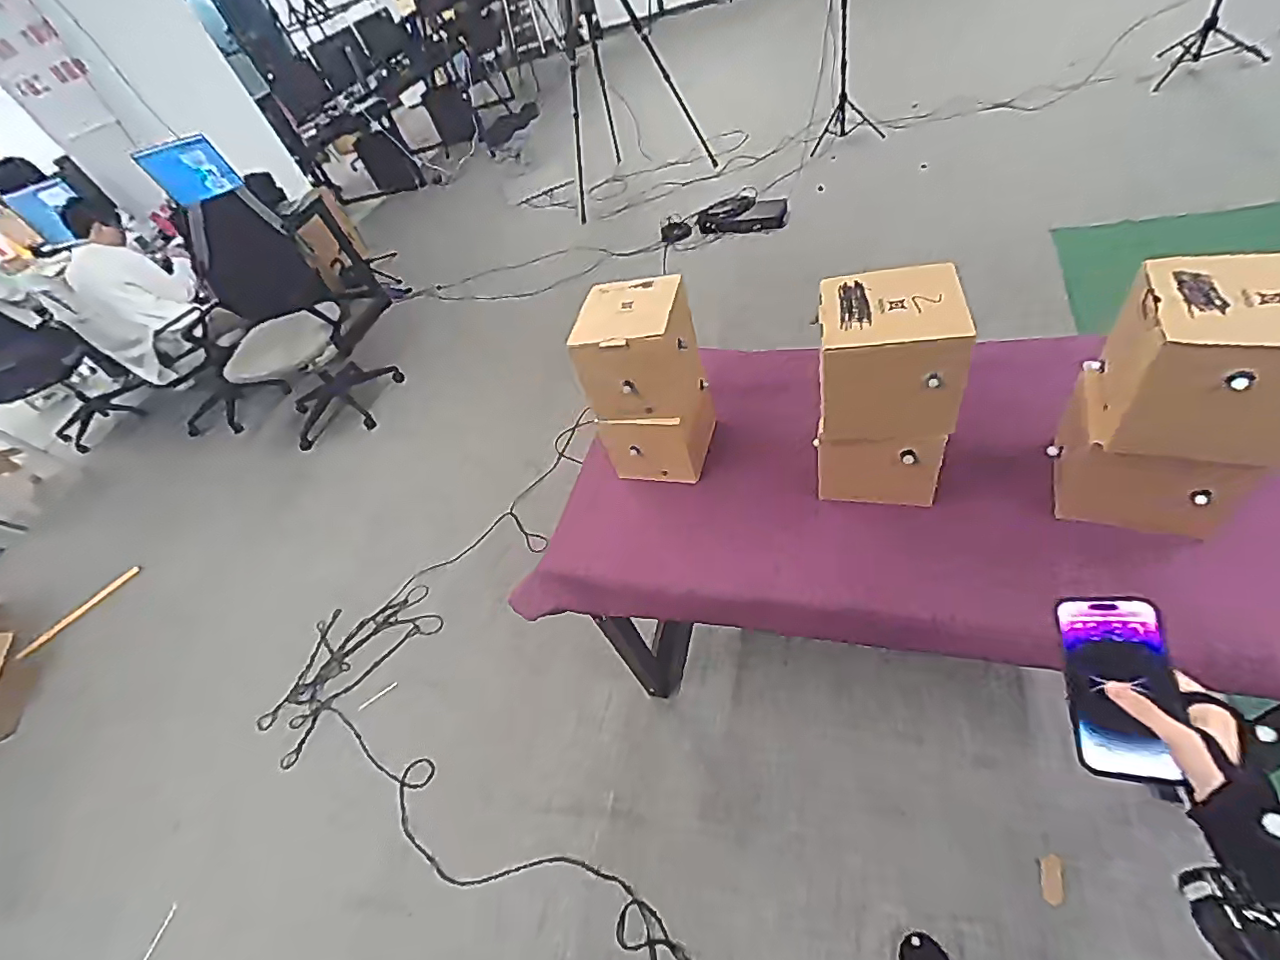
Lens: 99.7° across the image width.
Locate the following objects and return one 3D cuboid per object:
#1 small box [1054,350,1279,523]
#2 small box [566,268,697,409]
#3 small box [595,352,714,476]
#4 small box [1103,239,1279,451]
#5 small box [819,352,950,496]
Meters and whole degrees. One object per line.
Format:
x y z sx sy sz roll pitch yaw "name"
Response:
0.703 -0.059 0.747 0.179 0.176 0.168 8 54 27 "small box"
-0.003 -0.234 0.932 0.168 0.176 0.179 0 51 19 "small box"
0.039 -0.124 1.047 0.168 0.176 0.179 4 52 23 "small box"
0.663 -0.150 0.616 0.179 0.176 0.168 9 54 26 "small box"
0.393 -0.089 0.884 0.179 0.176 0.168 3 52 23 "small box"
